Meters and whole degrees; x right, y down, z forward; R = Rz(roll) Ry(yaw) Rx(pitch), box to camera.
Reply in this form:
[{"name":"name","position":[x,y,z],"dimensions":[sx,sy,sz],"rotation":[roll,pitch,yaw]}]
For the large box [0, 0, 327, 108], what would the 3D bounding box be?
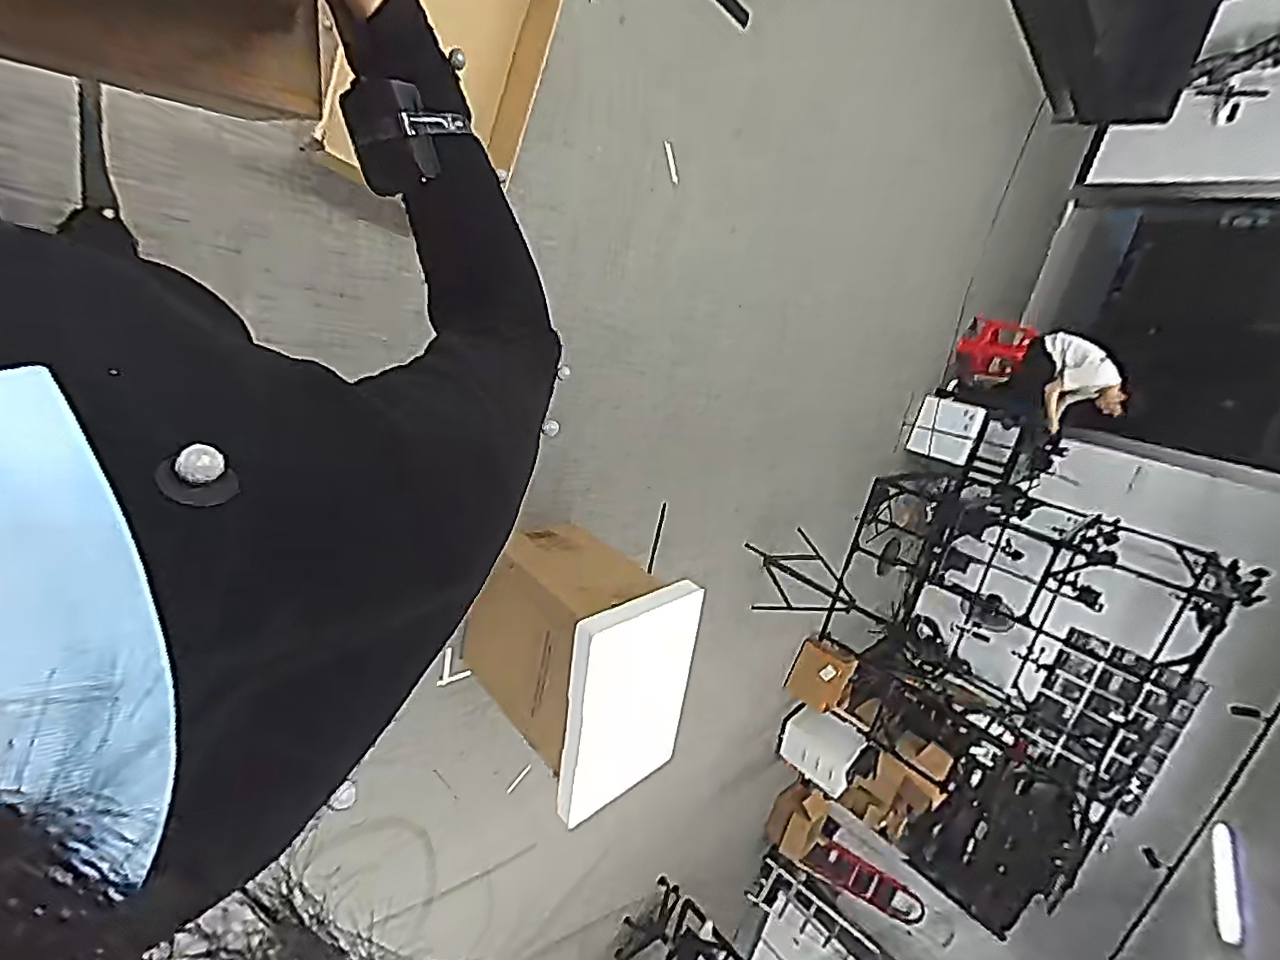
[{"name":"large box","position":[-0.452,-0.450,0.319],"dimensions":[0.408,0.320,0.320],"rotation":[-10,121,-39]}]
